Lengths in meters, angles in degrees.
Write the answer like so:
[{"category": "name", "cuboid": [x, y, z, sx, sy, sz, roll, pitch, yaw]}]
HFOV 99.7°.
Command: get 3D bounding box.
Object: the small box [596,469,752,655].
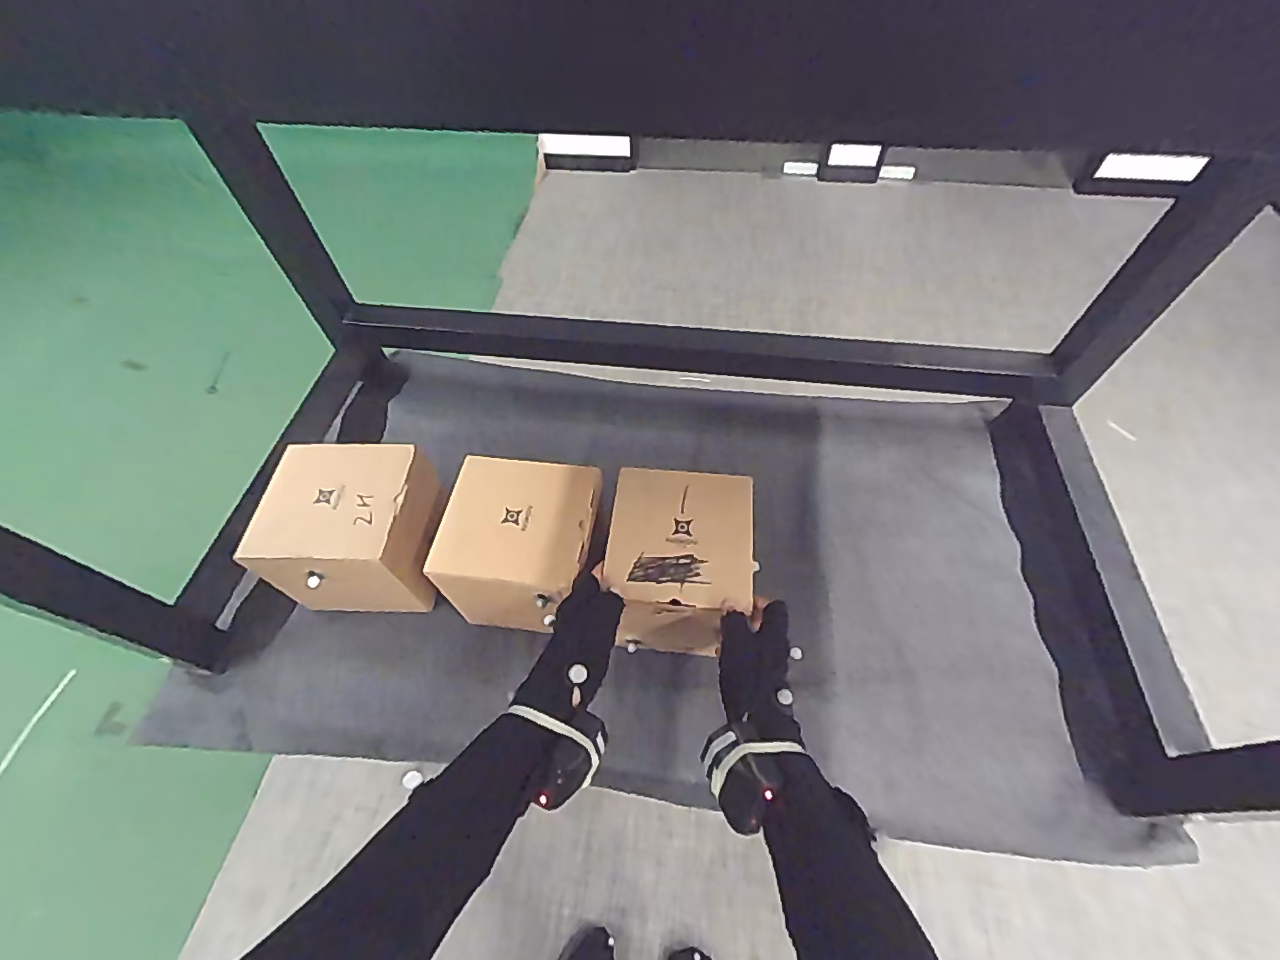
[{"category": "small box", "cuboid": [0.048, 0.108, 0.681, 0.168, 0.176, 0.179, 5, 56, 6]}]
